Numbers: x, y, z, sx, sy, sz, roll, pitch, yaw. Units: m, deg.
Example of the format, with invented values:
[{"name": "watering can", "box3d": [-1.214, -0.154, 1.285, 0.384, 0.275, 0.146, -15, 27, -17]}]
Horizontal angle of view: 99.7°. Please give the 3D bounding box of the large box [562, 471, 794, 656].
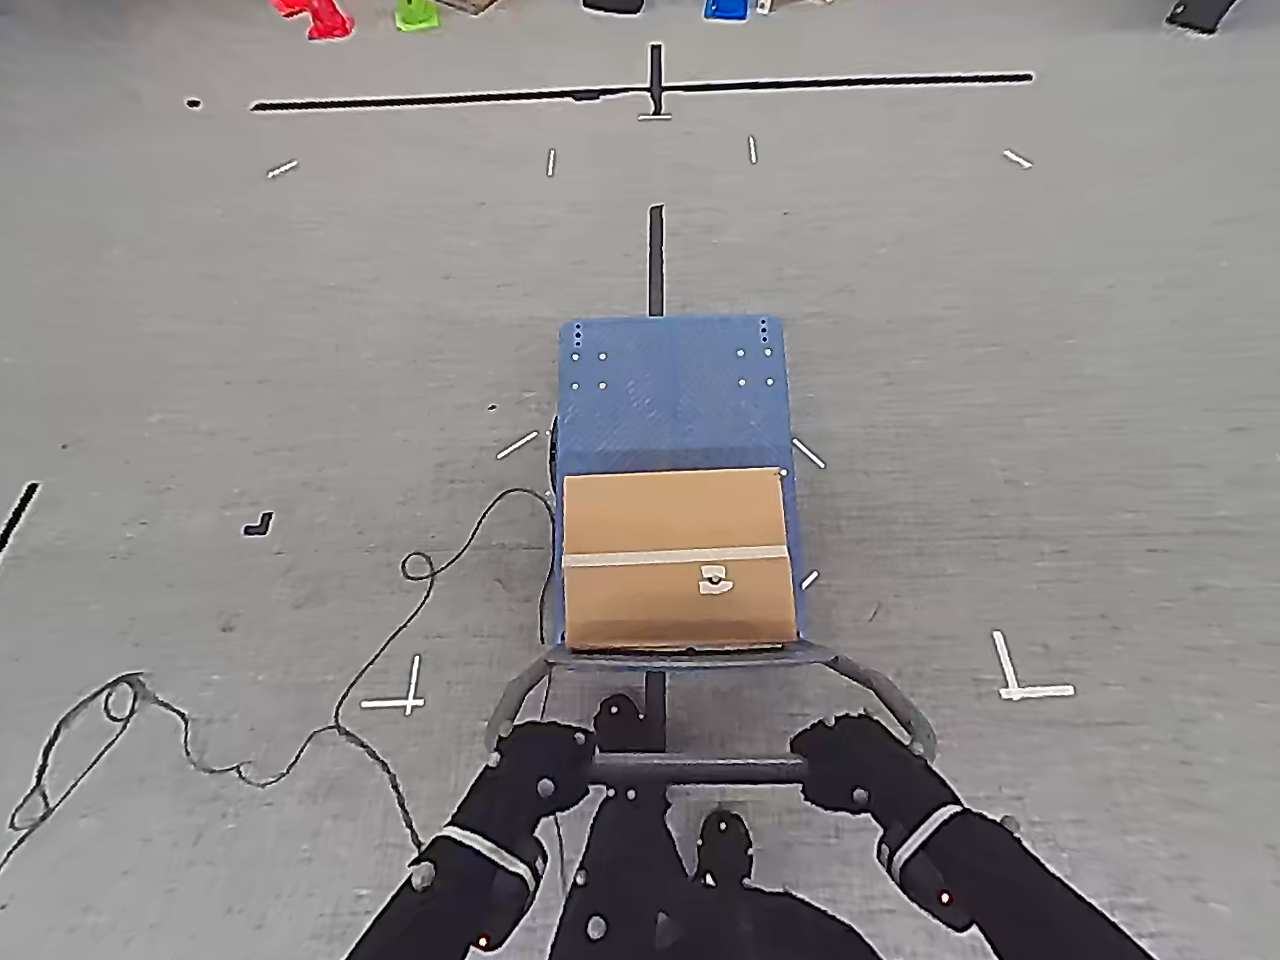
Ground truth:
[{"name": "large box", "box3d": [0.062, 0.177, 1.110, 0.408, 0.320, 0.320, -3, 77, 0]}]
